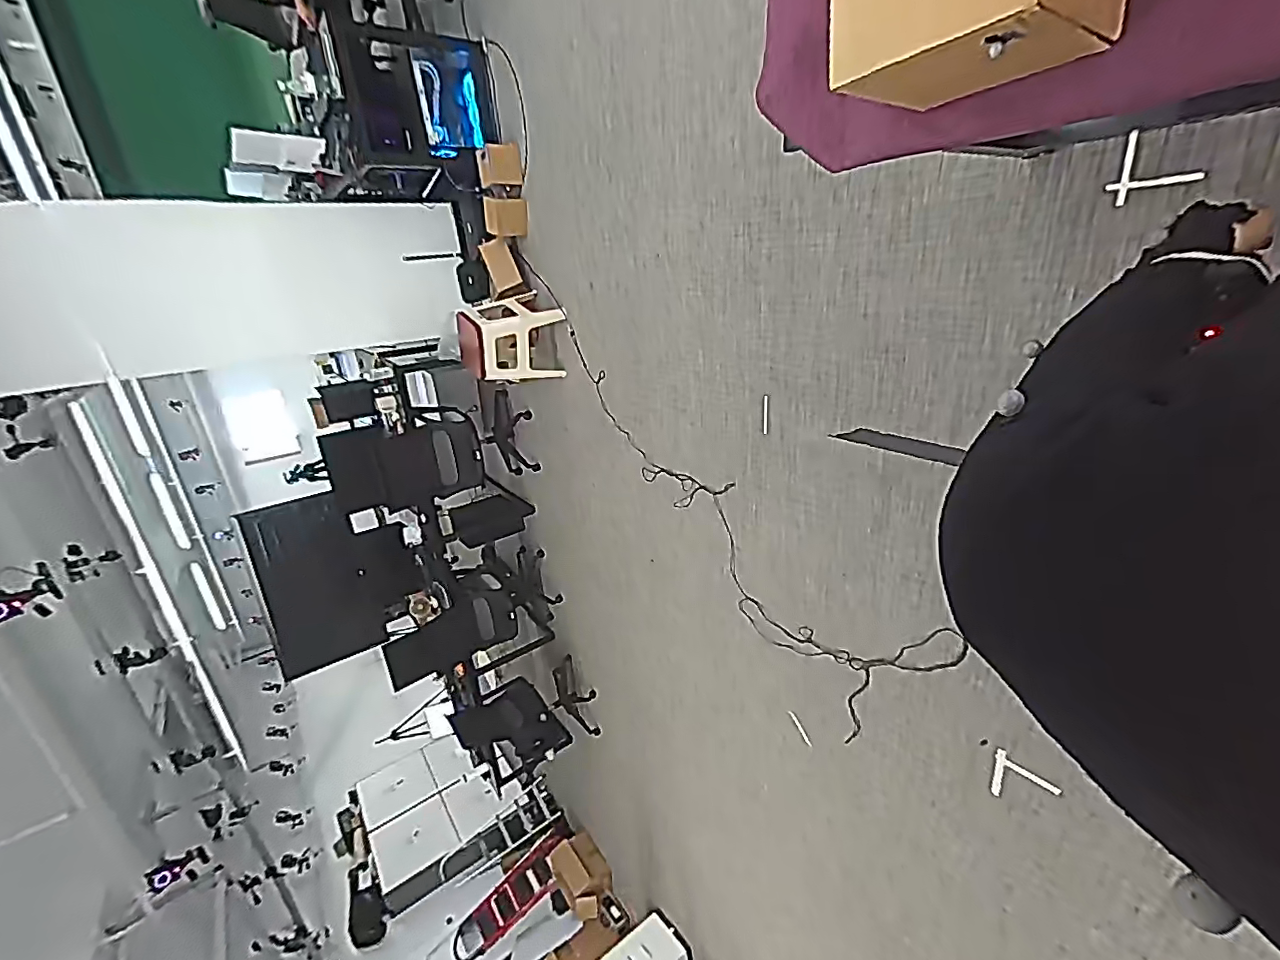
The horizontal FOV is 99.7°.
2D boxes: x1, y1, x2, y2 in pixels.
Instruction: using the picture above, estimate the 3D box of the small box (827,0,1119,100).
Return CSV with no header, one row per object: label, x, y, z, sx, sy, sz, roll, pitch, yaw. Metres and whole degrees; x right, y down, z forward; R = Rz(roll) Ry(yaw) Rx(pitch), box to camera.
small box,0.288,-0.457,0.469,0.179,0.176,0.168,18,120,52
